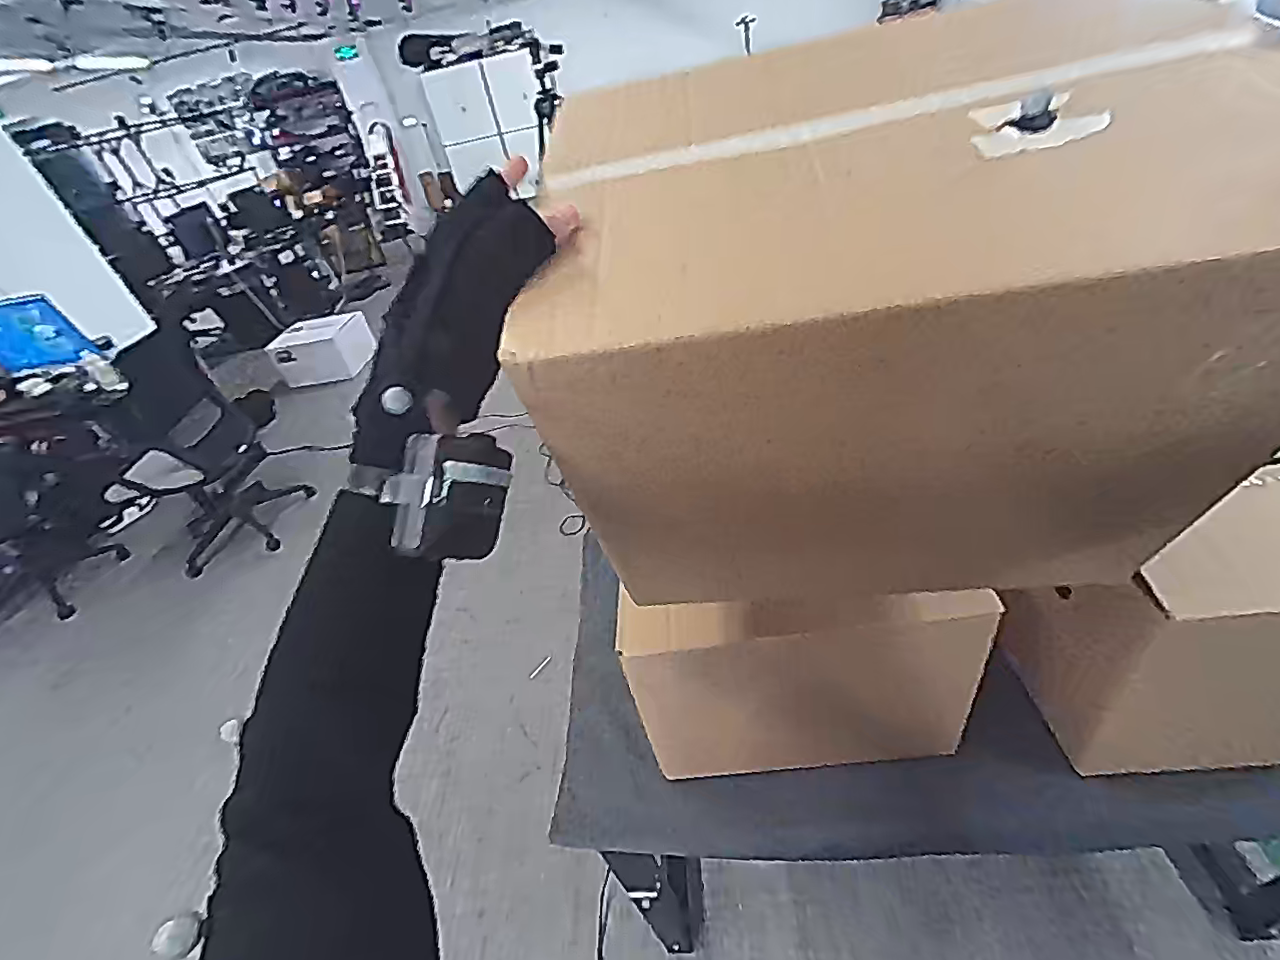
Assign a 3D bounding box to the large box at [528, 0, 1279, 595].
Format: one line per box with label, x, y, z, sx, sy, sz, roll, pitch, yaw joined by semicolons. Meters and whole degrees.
large box;0.164;-0.115;0.440;0.408;0.320;0.320;-5;57;9
